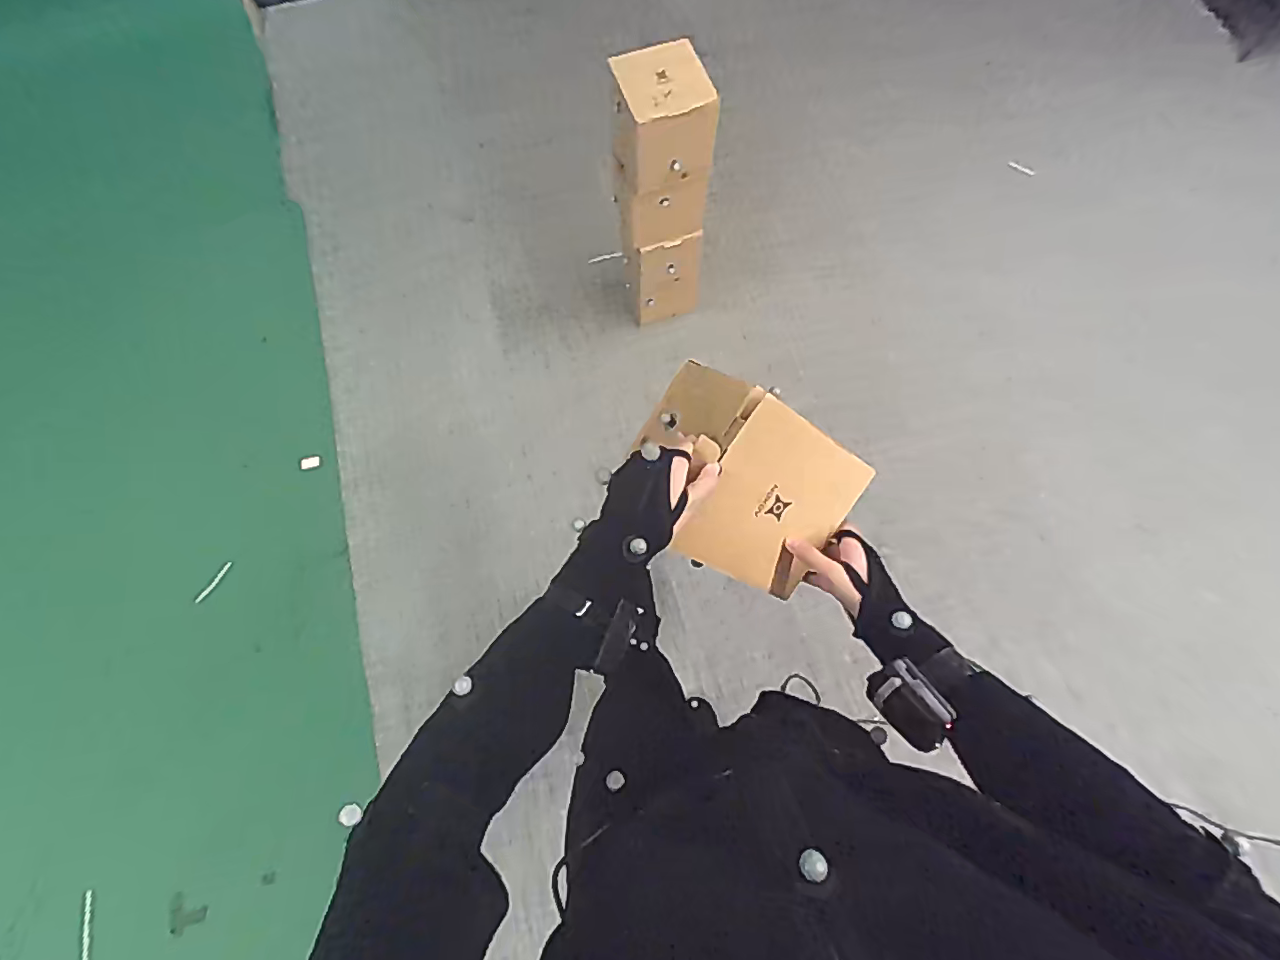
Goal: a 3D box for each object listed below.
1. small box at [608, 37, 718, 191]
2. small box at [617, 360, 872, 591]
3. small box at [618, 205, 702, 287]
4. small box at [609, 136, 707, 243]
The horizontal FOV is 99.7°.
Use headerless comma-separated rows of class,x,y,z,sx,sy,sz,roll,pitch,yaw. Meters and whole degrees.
small box,0.041,-0.724,1.081,0.168,0.176,0.179,-18,74,-5
small box,0.101,-0.014,0.589,0.179,0.176,0.168,28,100,-24
small box,0.049,-0.624,1.395,0.168,0.176,0.179,-18,74,-6
small box,0.039,-0.675,1.238,0.179,0.176,0.168,-17,74,-6
